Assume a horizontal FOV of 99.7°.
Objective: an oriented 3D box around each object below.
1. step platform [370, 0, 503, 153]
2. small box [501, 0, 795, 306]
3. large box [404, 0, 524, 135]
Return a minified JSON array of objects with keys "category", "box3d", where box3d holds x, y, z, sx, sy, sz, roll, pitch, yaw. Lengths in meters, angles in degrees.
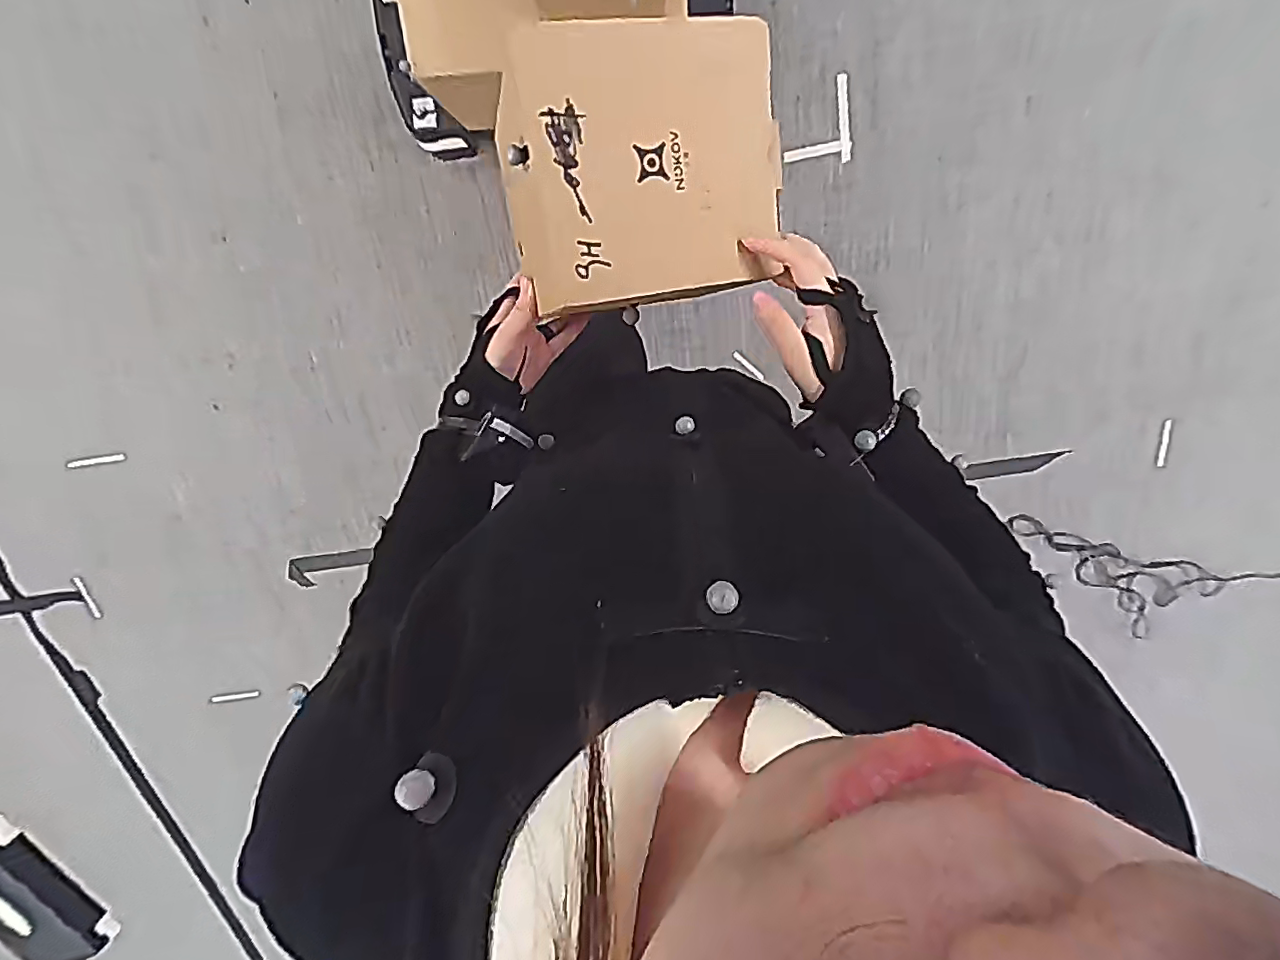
[{"category":"step platform","box3d":[-0.165,-0.851,1.087,0.684,0.204,0.286,-3,110,0]},{"category":"small box","box3d":[-0.003,-0.236,0.425,0.179,0.176,0.168,-12,105,-15]},{"category":"large box","box3d":[-0.132,-0.777,0.862,0.408,0.320,0.320,-4,109,1]}]
